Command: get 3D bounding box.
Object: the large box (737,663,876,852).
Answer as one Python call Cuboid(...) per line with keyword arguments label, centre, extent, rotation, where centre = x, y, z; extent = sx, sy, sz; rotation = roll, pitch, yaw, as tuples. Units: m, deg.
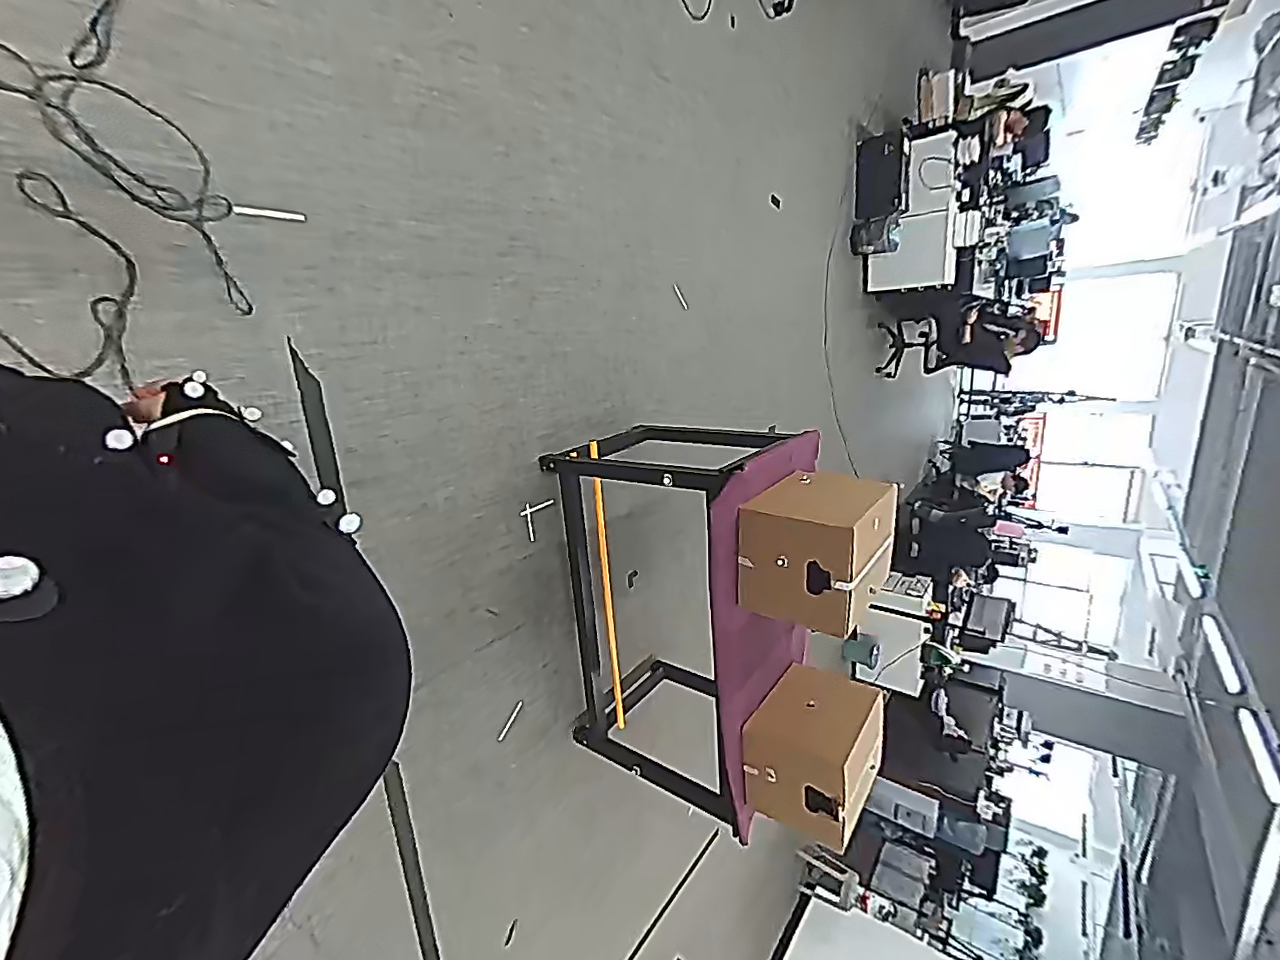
Cuboid(label="large box", centre=(0.544, 0.862, 1.748), extent=(0.408, 0.320, 0.320), rotation=(-23, 115, -50))
